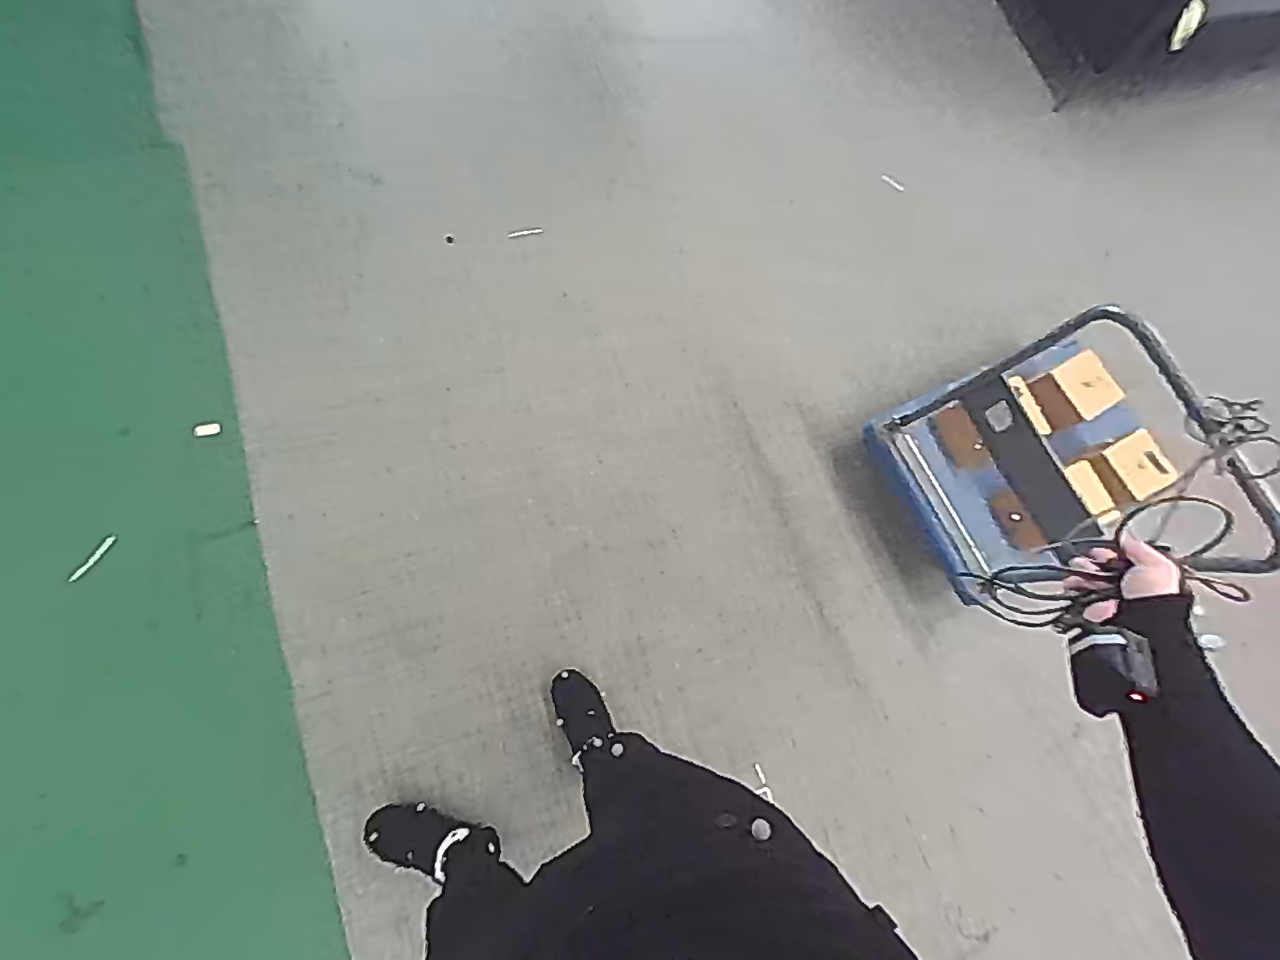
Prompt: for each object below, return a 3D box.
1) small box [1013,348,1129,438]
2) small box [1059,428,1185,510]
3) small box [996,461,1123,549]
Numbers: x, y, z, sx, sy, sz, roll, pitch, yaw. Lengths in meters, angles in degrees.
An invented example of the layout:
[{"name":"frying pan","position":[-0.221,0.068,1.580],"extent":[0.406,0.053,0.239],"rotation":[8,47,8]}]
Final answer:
[{"name":"small box","position":[1.225,-0.244,1.557],"extent":[0.179,0.176,0.168],"rotation":[-27,81,-16]},{"name":"small box","position":[1.334,-0.017,1.510],"extent":[0.179,0.176,0.168],"rotation":[-25,79,-15]},{"name":"small box","position":[1.115,0.072,1.450],"extent":[0.179,0.176,0.168],"rotation":[-21,79,-14]}]
